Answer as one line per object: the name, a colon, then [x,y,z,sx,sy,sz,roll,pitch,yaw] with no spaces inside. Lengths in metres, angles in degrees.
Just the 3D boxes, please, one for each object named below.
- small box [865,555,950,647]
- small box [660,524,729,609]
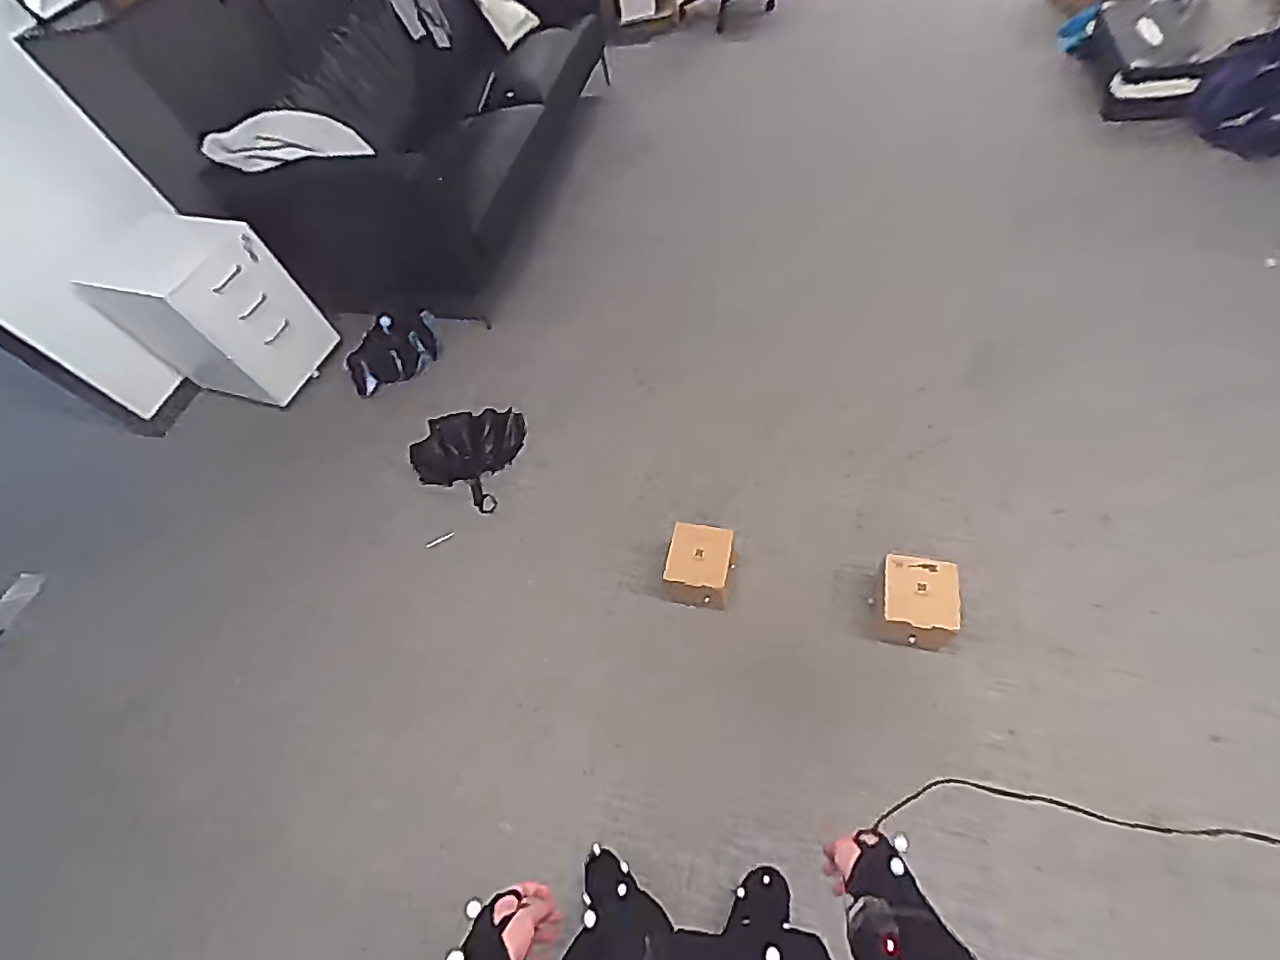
small box: [0.685,0.316,1.393,0.168,0.176,0.179,7,60,15]
small box: [0.162,0.249,1.536,0.168,0.176,0.179,7,58,13]
